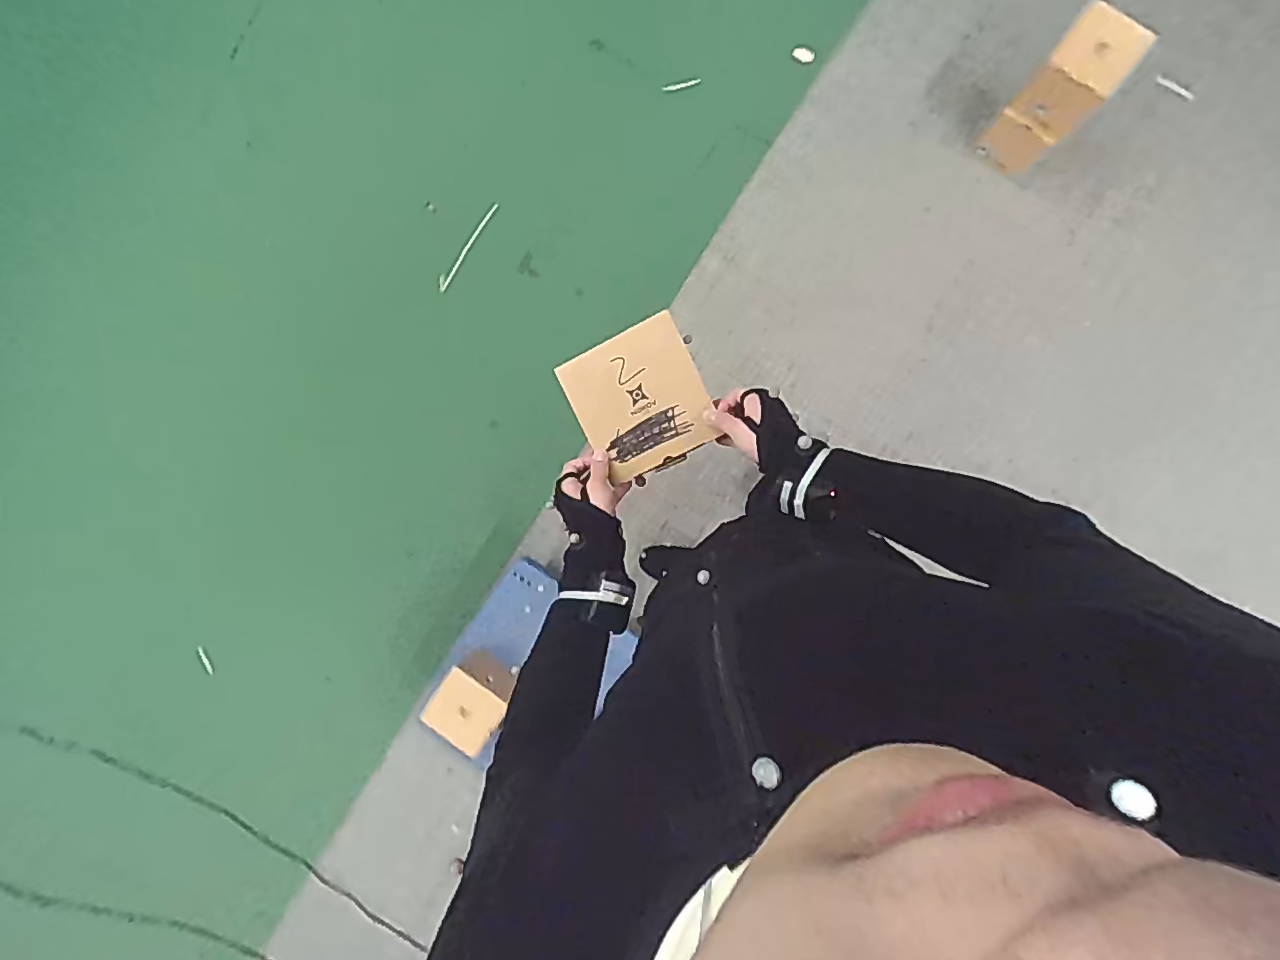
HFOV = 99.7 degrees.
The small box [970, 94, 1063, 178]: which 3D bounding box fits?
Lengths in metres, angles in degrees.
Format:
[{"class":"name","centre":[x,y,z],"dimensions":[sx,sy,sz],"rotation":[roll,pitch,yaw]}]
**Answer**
[{"class":"small box","centre":[1.054,-0.982,1.489],"dimensions":[0.168,0.176,0.179],"rotation":[38,92,3]}]

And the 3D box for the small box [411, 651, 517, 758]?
[{"class":"small box","centre":[-0.451,0.577,1.418],"dimensions":[0.179,0.176,0.168],"rotation":[35,91,3]}]

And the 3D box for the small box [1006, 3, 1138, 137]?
[{"class":"small box","centre":[1.051,-0.998,1.335],"dimensions":[0.168,0.176,0.179],"rotation":[-21,87,6]}]
